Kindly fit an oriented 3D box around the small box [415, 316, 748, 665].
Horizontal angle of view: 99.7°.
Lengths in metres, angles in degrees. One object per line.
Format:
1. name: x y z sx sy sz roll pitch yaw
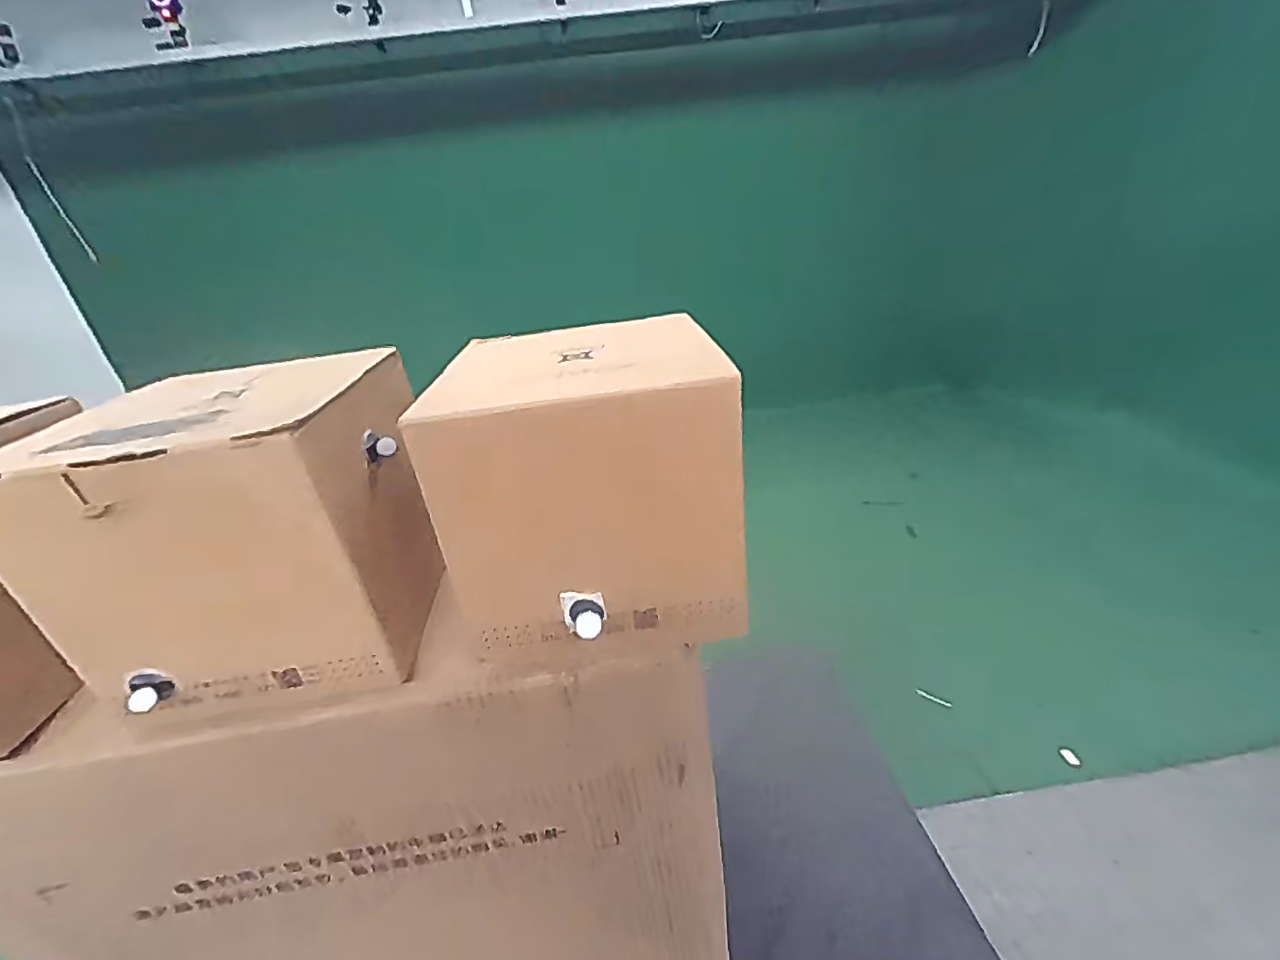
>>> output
1. small box: -0.027 -0.004 0.372 0.168 0.176 0.179 -8 28 -1
